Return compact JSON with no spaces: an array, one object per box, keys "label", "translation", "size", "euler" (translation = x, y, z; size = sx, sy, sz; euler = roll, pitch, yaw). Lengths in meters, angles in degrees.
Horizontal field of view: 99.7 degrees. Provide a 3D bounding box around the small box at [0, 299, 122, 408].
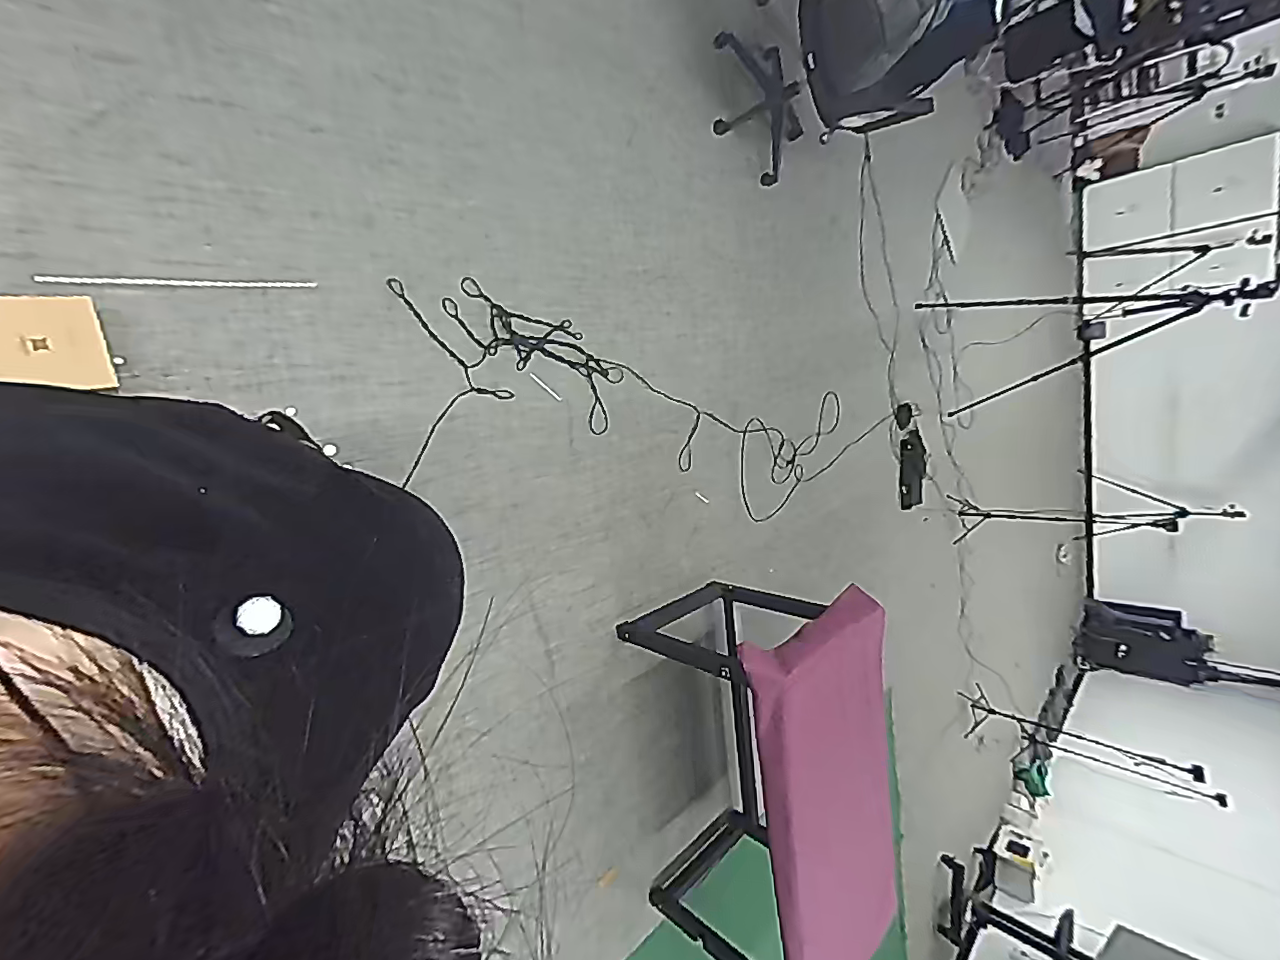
[{"label":"small box","translation":[-1.085,-0.228,0.985],"size":[0.179,0.176,0.168],"euler":[-17,103,-41]}]
